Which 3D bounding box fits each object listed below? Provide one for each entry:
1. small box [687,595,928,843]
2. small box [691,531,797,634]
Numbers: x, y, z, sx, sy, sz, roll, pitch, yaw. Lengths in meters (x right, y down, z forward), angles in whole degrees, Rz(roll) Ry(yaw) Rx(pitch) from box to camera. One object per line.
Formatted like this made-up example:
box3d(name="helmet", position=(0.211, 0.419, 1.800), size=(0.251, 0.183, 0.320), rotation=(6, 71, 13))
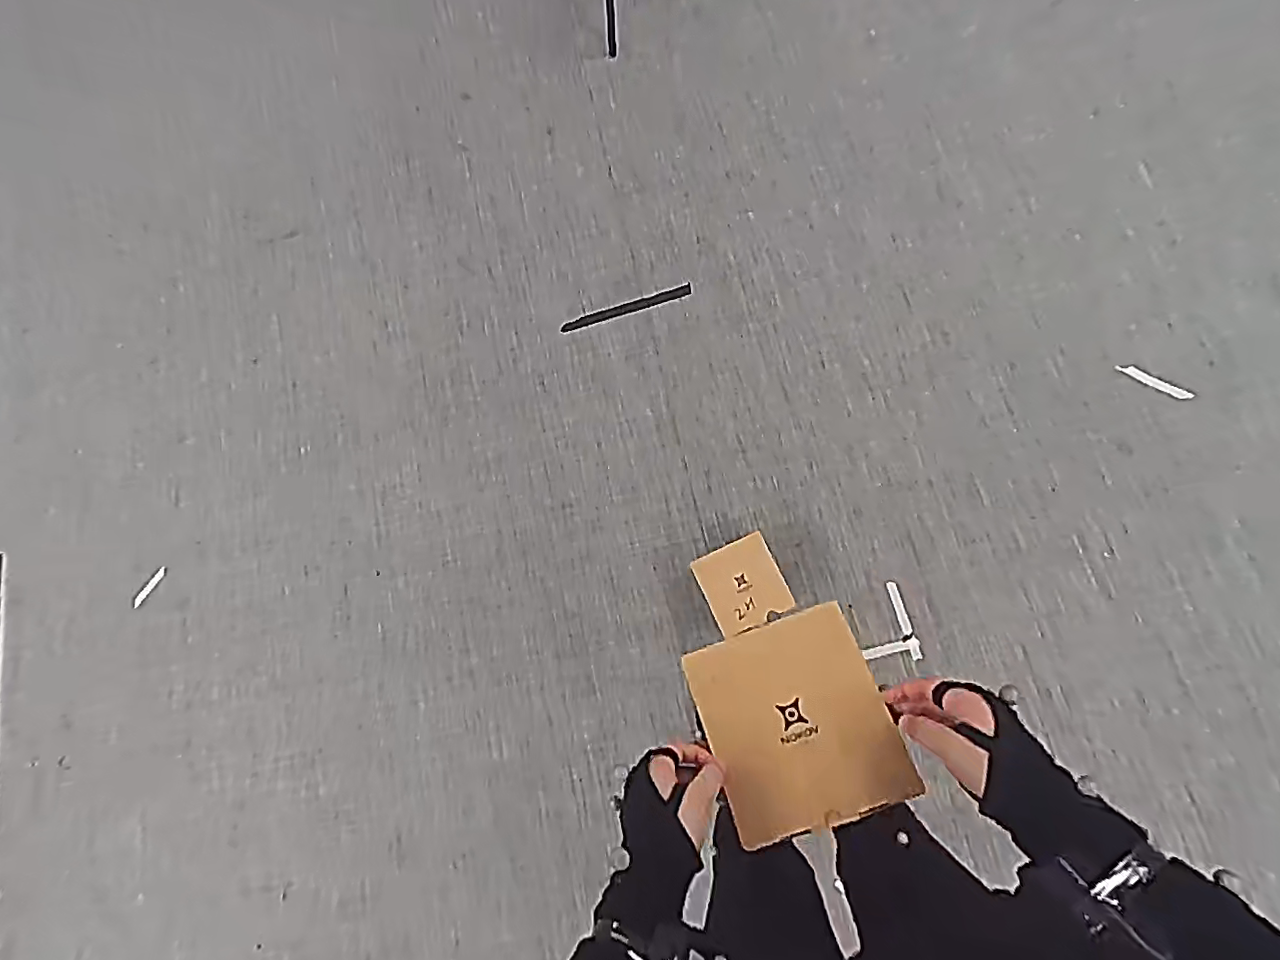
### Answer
box3d(name="small box", position=(0.160, 0.240, 0.571), size=(0.168, 0.176, 0.179), rotation=(-22, 69, 5))
box3d(name="small box", position=(0.224, 0.232, 1.198), size=(0.168, 0.176, 0.179), rotation=(-26, 77, 3))
